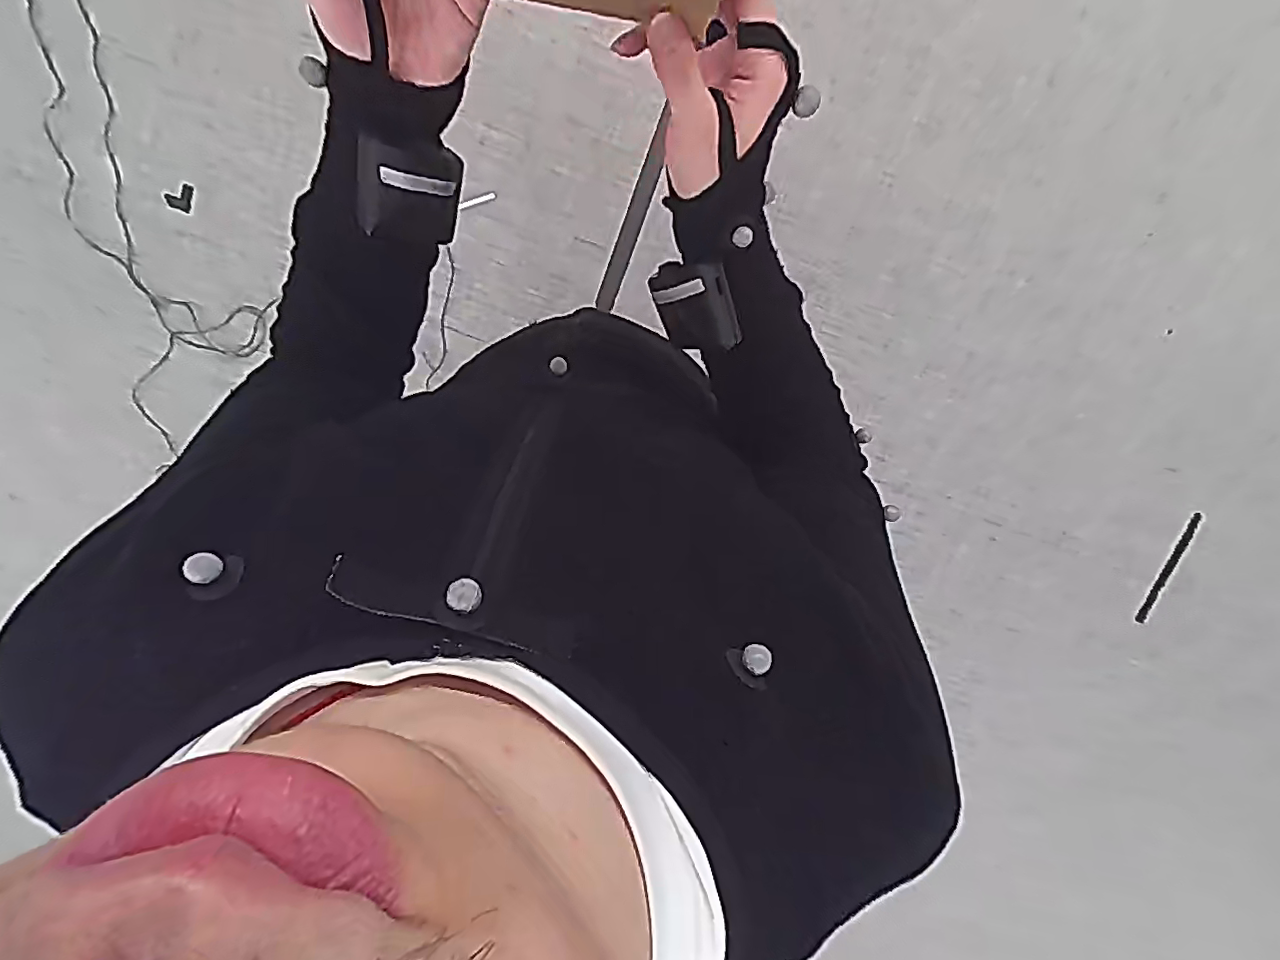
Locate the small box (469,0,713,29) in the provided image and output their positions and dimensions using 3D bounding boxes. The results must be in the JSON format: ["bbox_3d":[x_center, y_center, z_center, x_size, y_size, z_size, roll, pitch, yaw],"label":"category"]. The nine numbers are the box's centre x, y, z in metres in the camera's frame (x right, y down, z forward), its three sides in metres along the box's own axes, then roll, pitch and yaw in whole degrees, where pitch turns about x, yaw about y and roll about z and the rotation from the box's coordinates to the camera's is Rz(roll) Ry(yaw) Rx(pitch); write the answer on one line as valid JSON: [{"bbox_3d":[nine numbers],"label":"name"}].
[{"bbox_3d":[-0.033,-0.274,0.164,0.179,0.176,0.168,3,112,-7],"label":"small box"}]
